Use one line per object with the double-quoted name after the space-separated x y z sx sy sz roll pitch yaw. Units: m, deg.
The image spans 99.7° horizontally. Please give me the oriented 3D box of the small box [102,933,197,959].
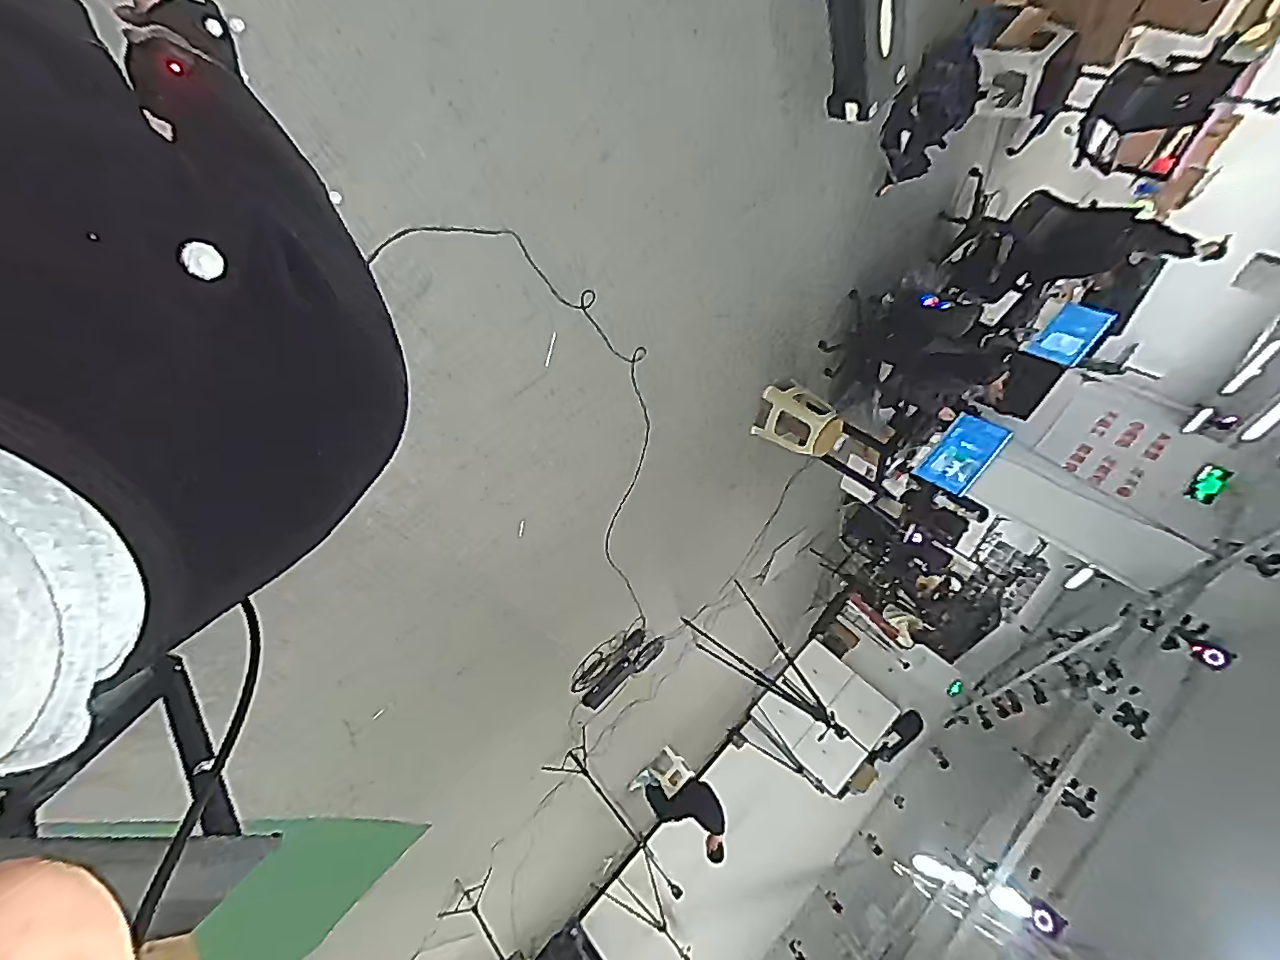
-1.113 1.140 1.182 0.179 0.176 0.168 -46 147 -11 "small box"
